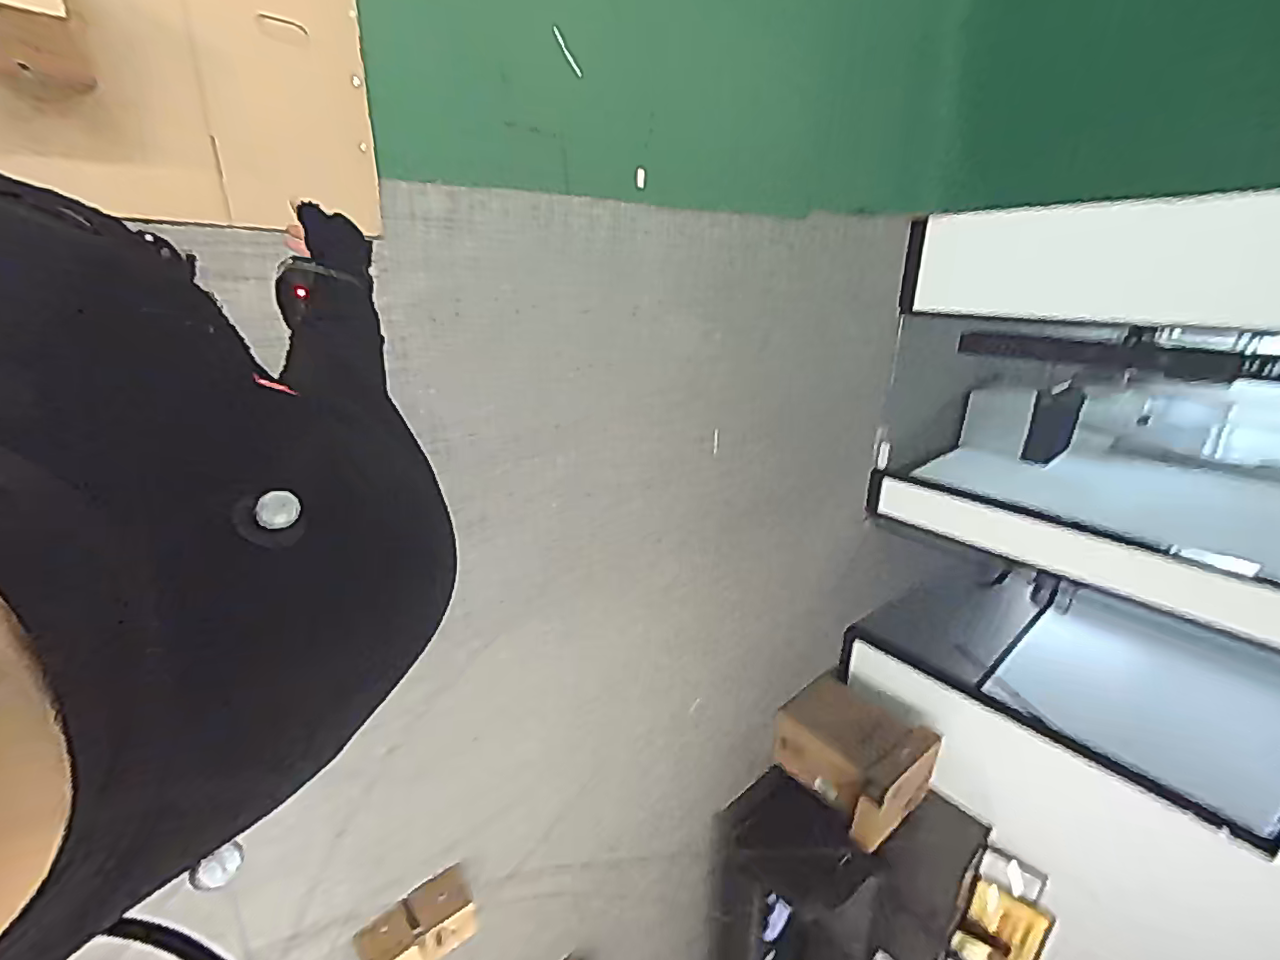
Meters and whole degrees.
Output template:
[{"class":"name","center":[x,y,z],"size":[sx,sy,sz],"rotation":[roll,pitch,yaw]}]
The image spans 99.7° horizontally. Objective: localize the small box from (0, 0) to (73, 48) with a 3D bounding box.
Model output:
[{"class":"small box","center":[-0.852,-0.681,0.672],"size":[0.168,0.176,0.179],"rotation":[-14,114,-37]}]

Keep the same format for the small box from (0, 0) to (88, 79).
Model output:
[{"class":"small box","center":[-0.955,-0.727,0.792],"size":[0.168,0.176,0.179],"rotation":[-15,117,-36]}]
